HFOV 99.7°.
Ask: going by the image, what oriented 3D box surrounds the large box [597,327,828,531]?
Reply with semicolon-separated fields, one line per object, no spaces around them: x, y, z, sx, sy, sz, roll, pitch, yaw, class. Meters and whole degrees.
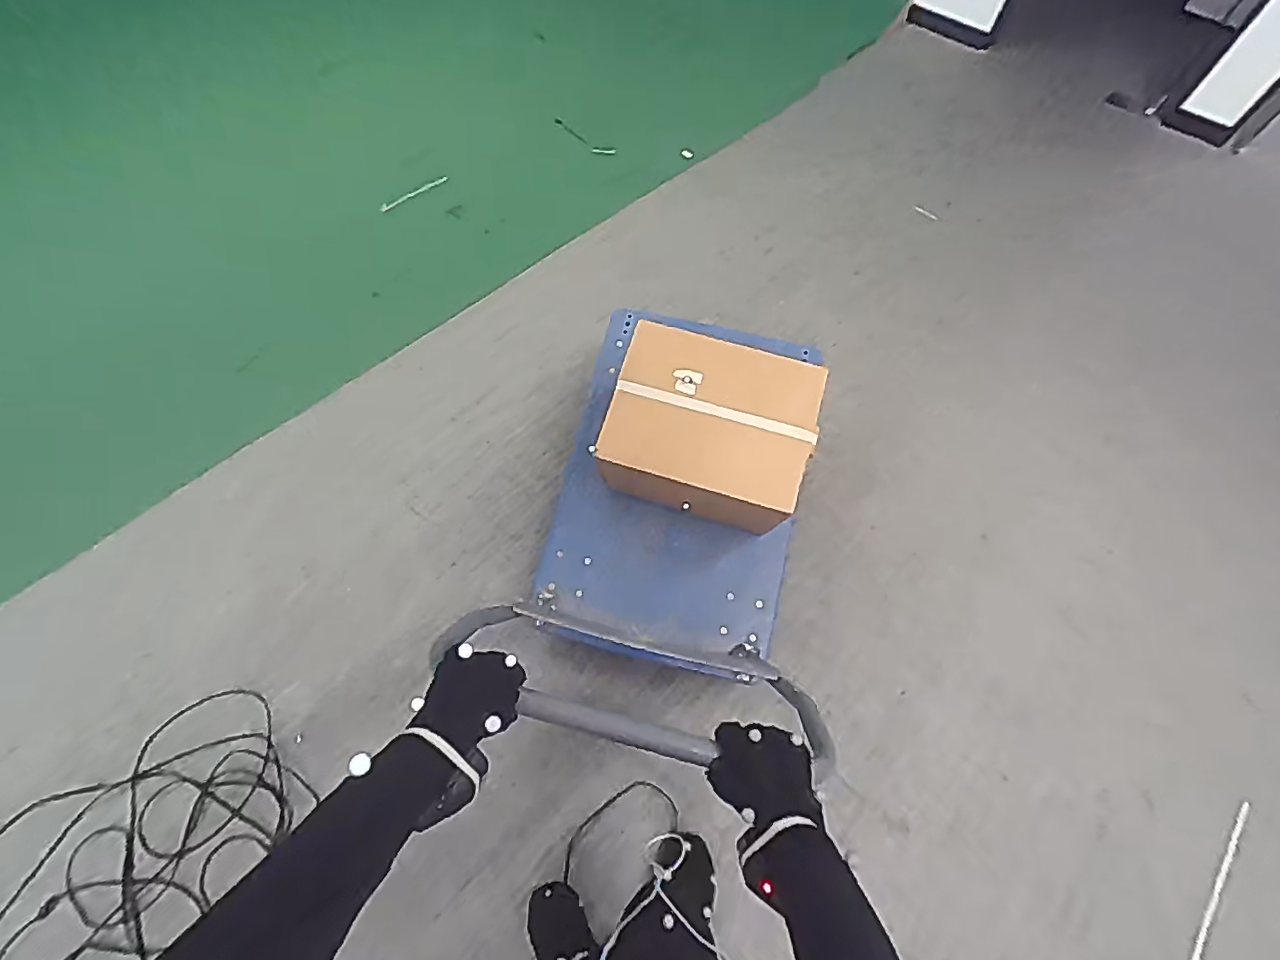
0.158;-0.096;1.215;0.408;0.320;0.320;15;78;7;large box
